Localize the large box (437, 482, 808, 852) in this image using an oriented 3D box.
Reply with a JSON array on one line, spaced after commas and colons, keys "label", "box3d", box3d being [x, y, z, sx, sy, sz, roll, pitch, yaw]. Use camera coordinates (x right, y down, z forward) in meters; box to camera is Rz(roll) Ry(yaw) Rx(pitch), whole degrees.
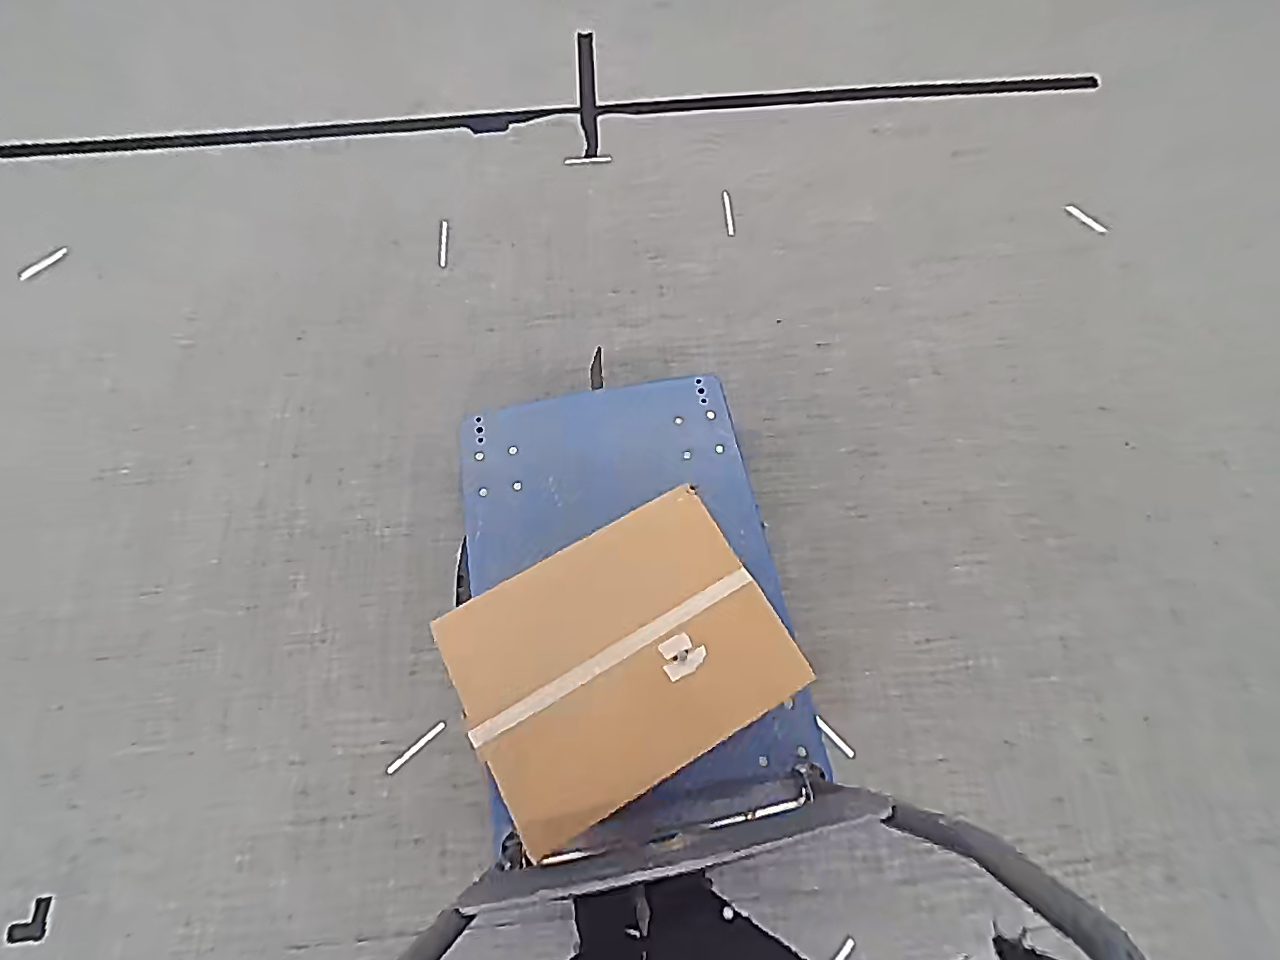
[{"label": "large box", "box3d": [-0.028, 0.272, 0.843, 0.408, 0.320, 0.320, -28, 72, -12]}]
